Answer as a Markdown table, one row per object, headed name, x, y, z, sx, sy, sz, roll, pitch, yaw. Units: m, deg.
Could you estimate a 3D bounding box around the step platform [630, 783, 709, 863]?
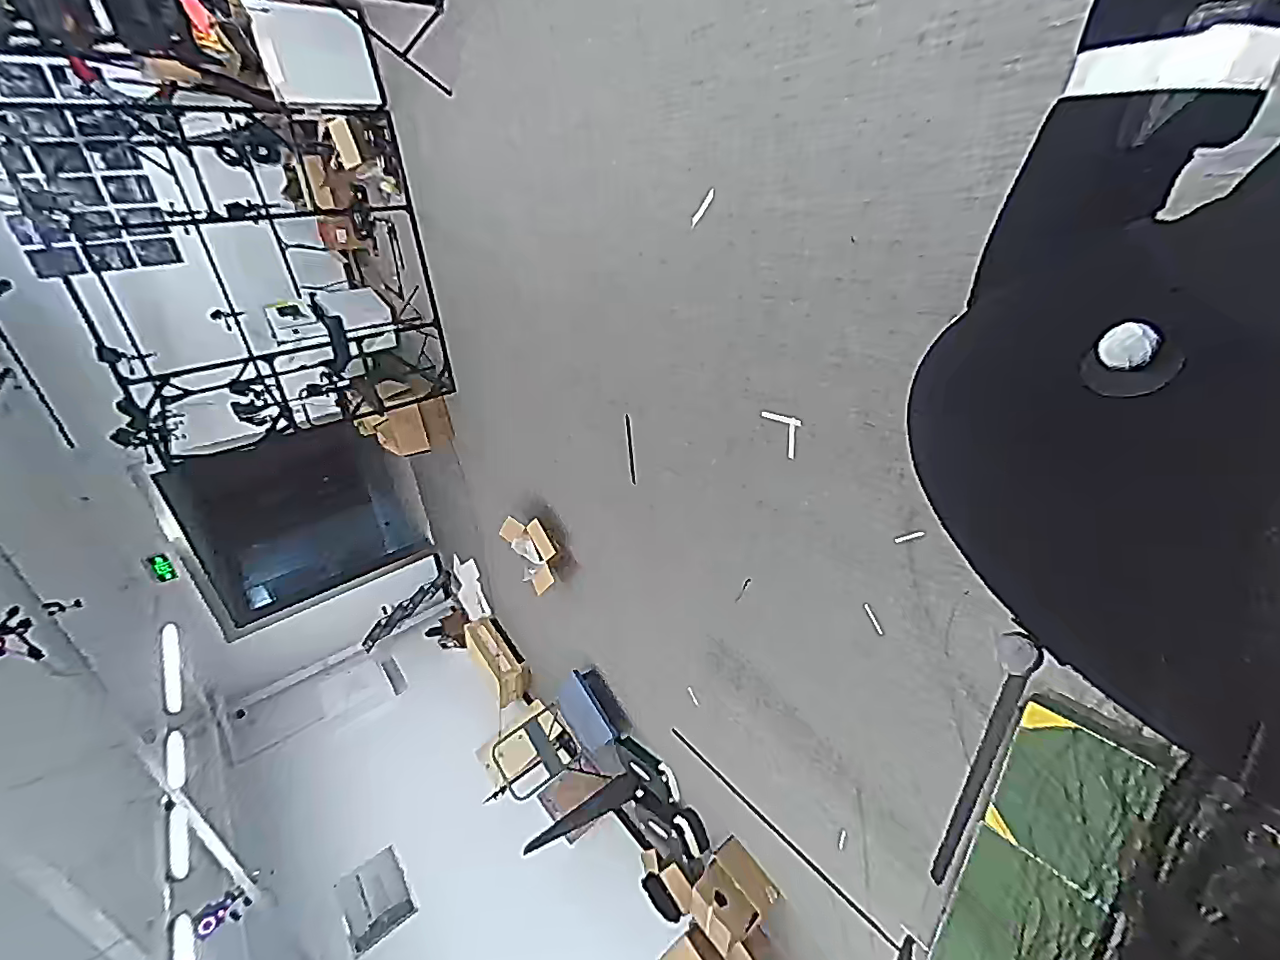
| name | x | y | z | sx | sy | sz | roll | pitch | yaw |
| --- | --- | --- | --- | --- | --- | --- | --- | --- | --- |
| step platform | 0.196 | 2.519 | 3.984 | 0.684 | 0.204 | 0.286 | -16 | 97 | 56 |
